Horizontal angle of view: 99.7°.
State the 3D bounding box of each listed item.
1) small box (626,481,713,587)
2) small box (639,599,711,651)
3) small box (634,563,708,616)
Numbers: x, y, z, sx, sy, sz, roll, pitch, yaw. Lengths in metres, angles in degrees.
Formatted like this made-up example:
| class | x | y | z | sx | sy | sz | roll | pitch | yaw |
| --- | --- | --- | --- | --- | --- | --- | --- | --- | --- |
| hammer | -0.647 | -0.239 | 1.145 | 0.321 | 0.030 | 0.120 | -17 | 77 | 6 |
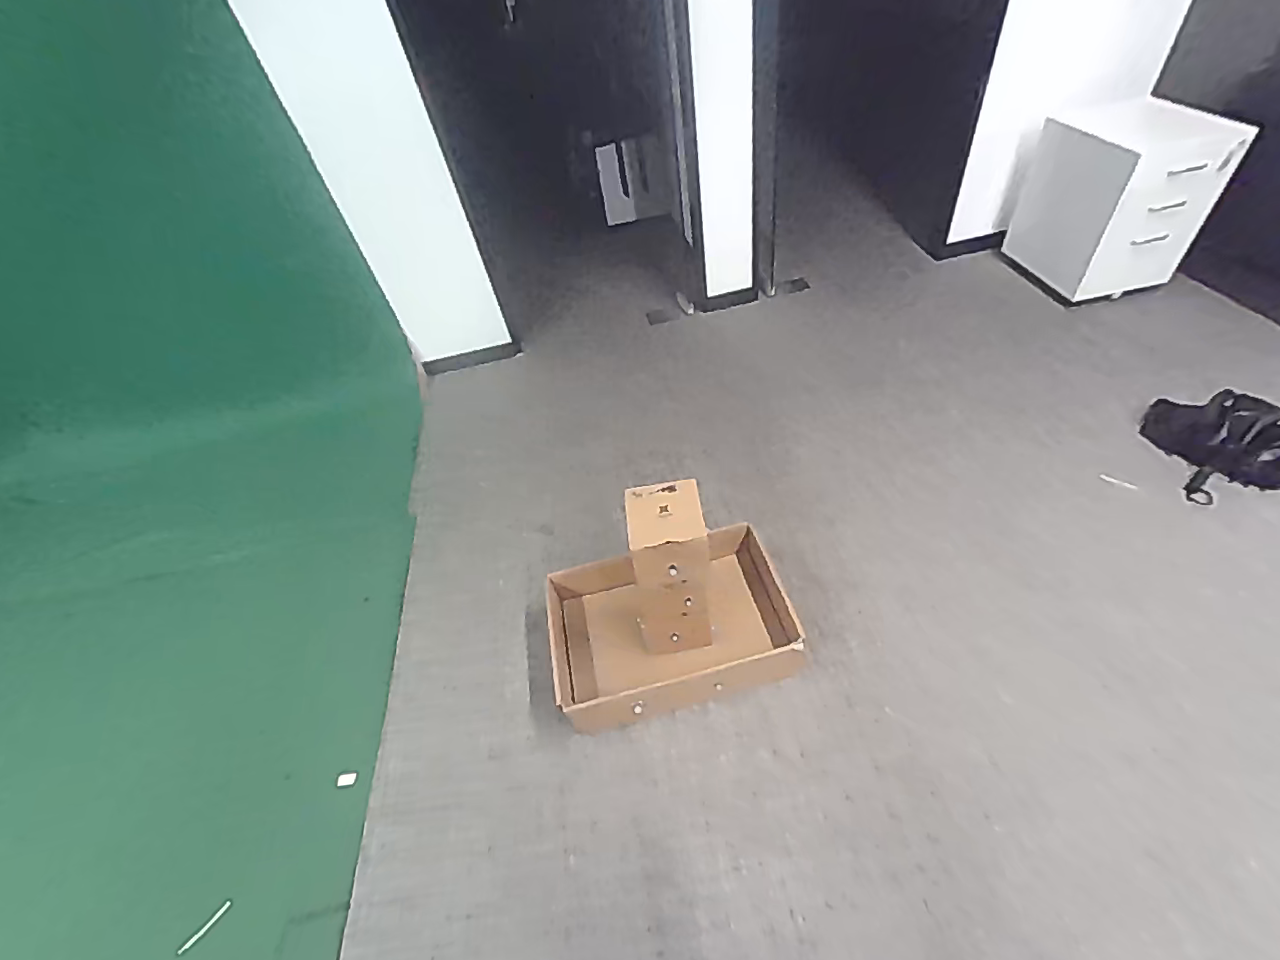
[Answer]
| class | x | y | z | sx | sy | sz | roll | pitch | yaw |
| --- | --- | --- | --- | --- | --- | --- | --- | --- | --- |
| small box | 0.070 | 0.133 | 1.256 | 0.168 | 0.176 | 0.179 | -11 | 46 | 6 |
| small box | 0.096 | 0.351 | 1.490 | 0.179 | 0.176 | 0.168 | -11 | 46 | 5 |
| small box | 0.076 | 0.227 | 1.364 | 0.168 | 0.176 | 0.179 | -8 | 45 | 3 |
